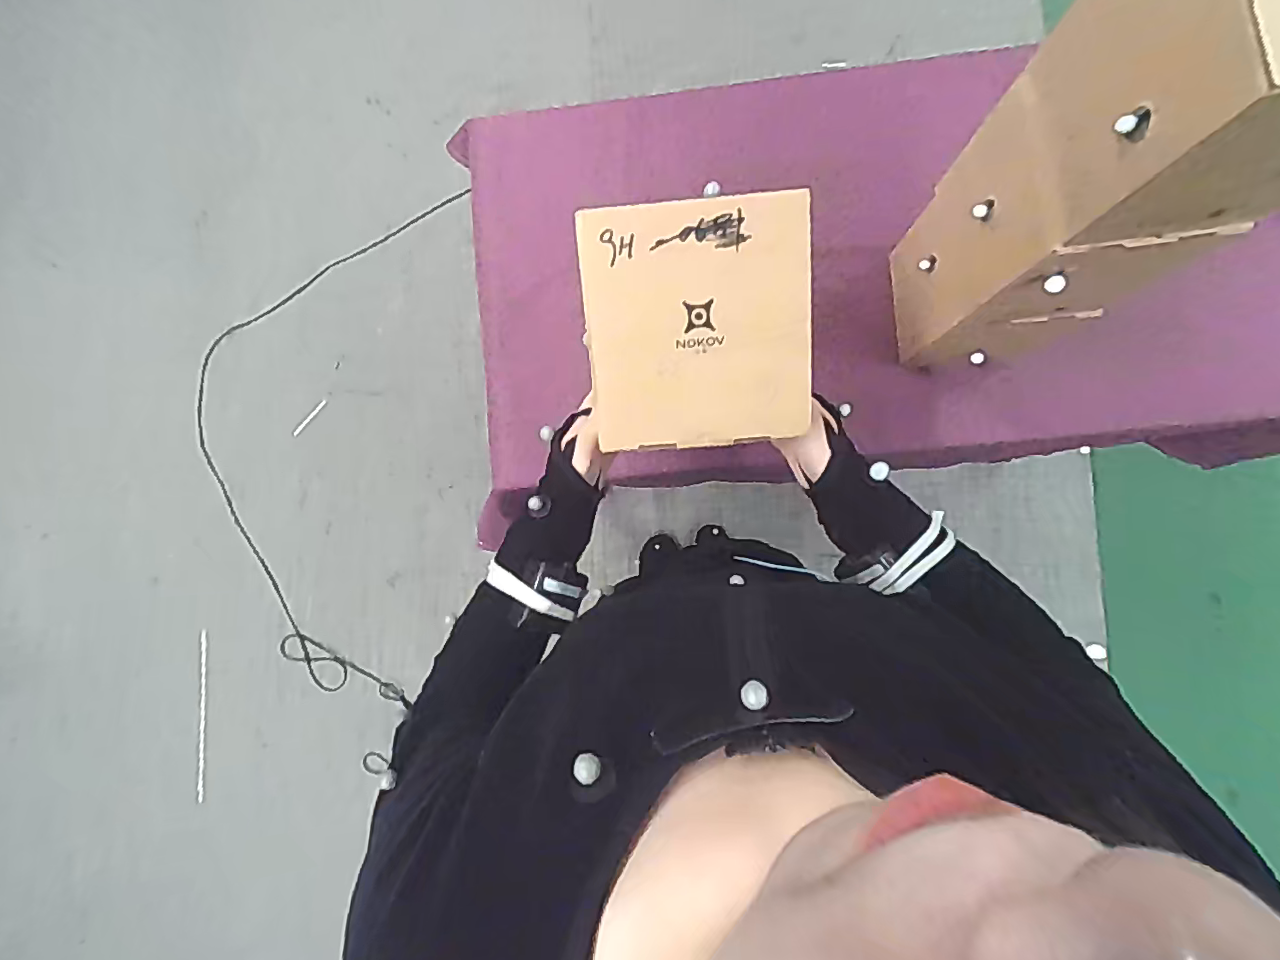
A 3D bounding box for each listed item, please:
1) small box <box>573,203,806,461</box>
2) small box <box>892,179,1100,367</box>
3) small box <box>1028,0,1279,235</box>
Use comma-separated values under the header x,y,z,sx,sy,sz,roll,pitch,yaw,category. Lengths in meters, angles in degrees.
x,y,z,sx,sy,sz,roll,pitch,yaw,category
0.042,-0.126,0.476,0.168,0.176,0.179,-5,106,2,small box
0.451,-0.263,0.715,0.168,0.176,0.179,-3,85,4,small box
0.426,-0.300,0.391,0.168,0.176,0.179,-6,84,3,small box
